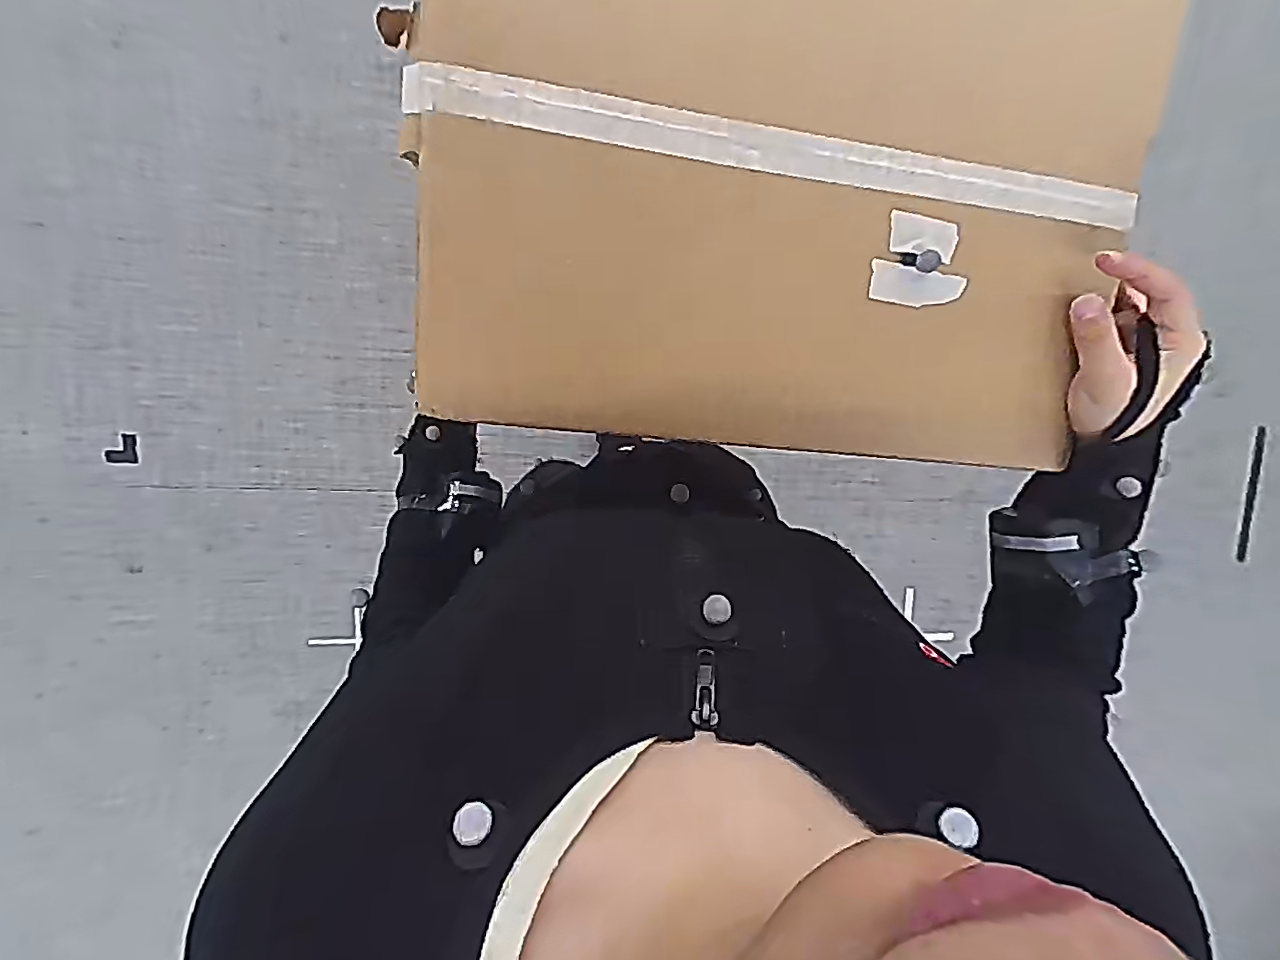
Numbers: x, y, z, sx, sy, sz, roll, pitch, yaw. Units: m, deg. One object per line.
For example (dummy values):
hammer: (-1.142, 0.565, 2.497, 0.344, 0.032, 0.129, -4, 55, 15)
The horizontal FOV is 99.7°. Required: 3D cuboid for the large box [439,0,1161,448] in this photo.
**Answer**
large box: (0.070, -0.211, 0.442, 0.408, 0.320, 0.320, 4, 102, -11)
